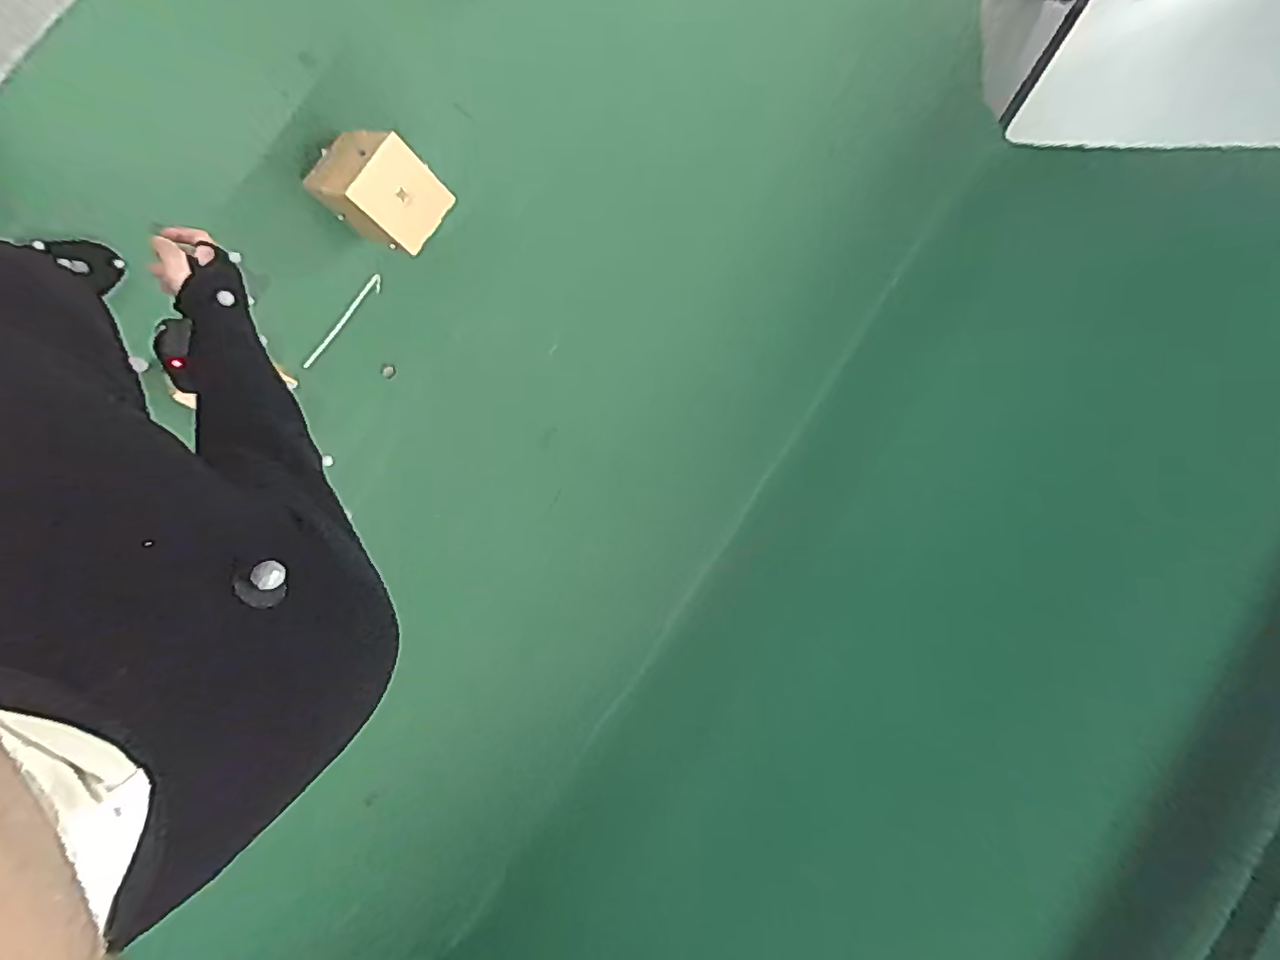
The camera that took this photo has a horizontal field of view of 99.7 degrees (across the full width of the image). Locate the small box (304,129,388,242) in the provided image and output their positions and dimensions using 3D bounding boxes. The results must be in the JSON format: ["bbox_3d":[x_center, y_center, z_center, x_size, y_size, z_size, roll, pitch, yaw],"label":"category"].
[{"bbox_3d":[-0.659,-0.707,1.295,0.168,0.176,0.179,-56,141,-5],"label":"small box"}]

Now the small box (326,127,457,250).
[{"bbox_3d":[-0.552,-0.640,1.194,0.168,0.176,0.179,-56,142,-5],"label":"small box"}]

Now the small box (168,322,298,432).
[{"bbox_3d":[-0.958,-0.247,1.271,0.168,0.176,0.179,-54,140,-6],"label":"small box"}]
